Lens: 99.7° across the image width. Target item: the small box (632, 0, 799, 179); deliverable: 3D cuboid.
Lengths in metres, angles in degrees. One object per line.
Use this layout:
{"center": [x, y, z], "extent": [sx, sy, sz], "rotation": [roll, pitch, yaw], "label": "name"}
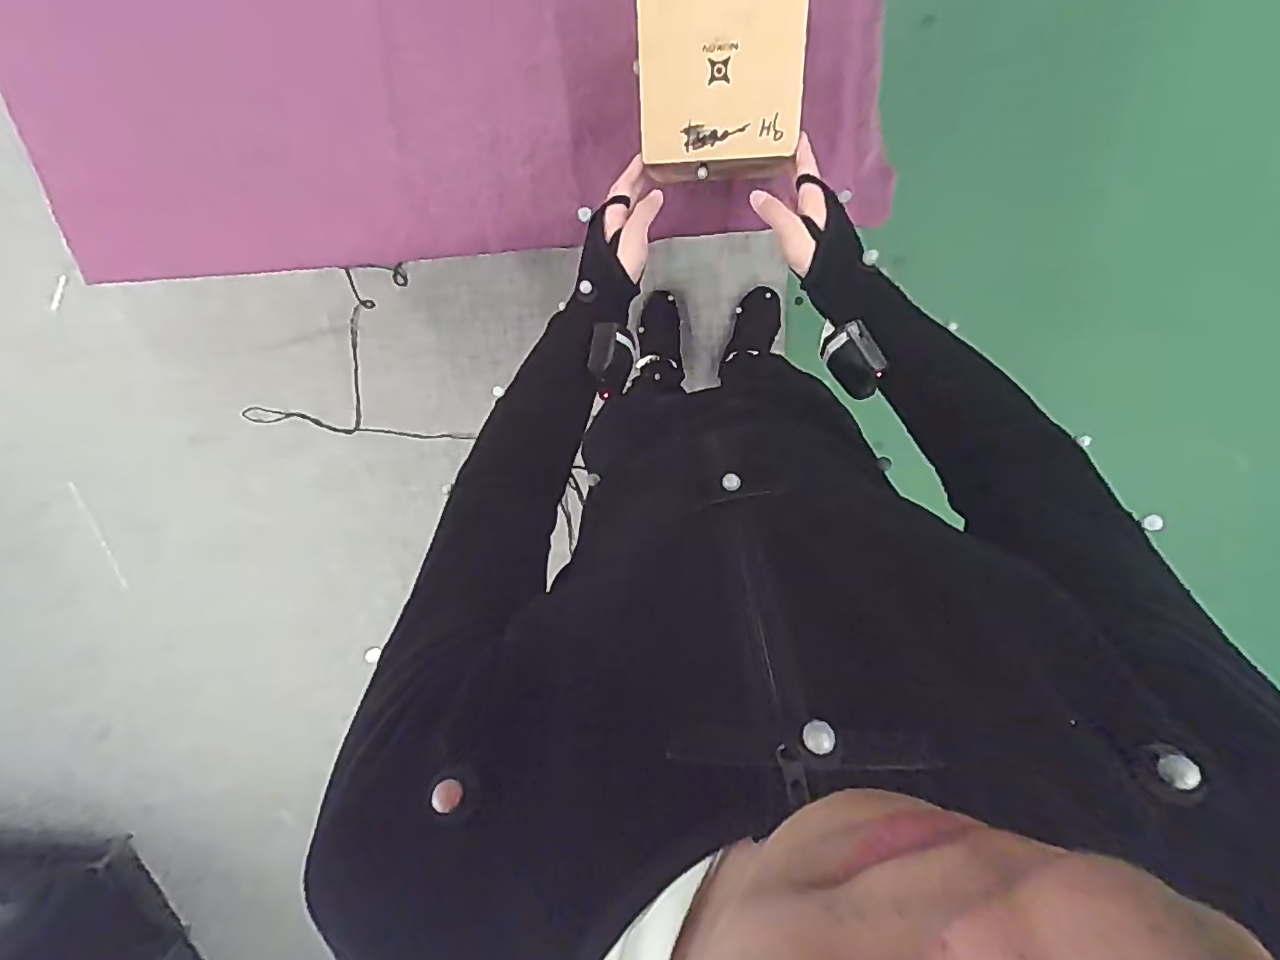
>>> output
{"center": [0.083, -0.455, 0.620], "extent": [0.168, 0.176, 0.179], "rotation": [2, 115, 9], "label": "small box"}
